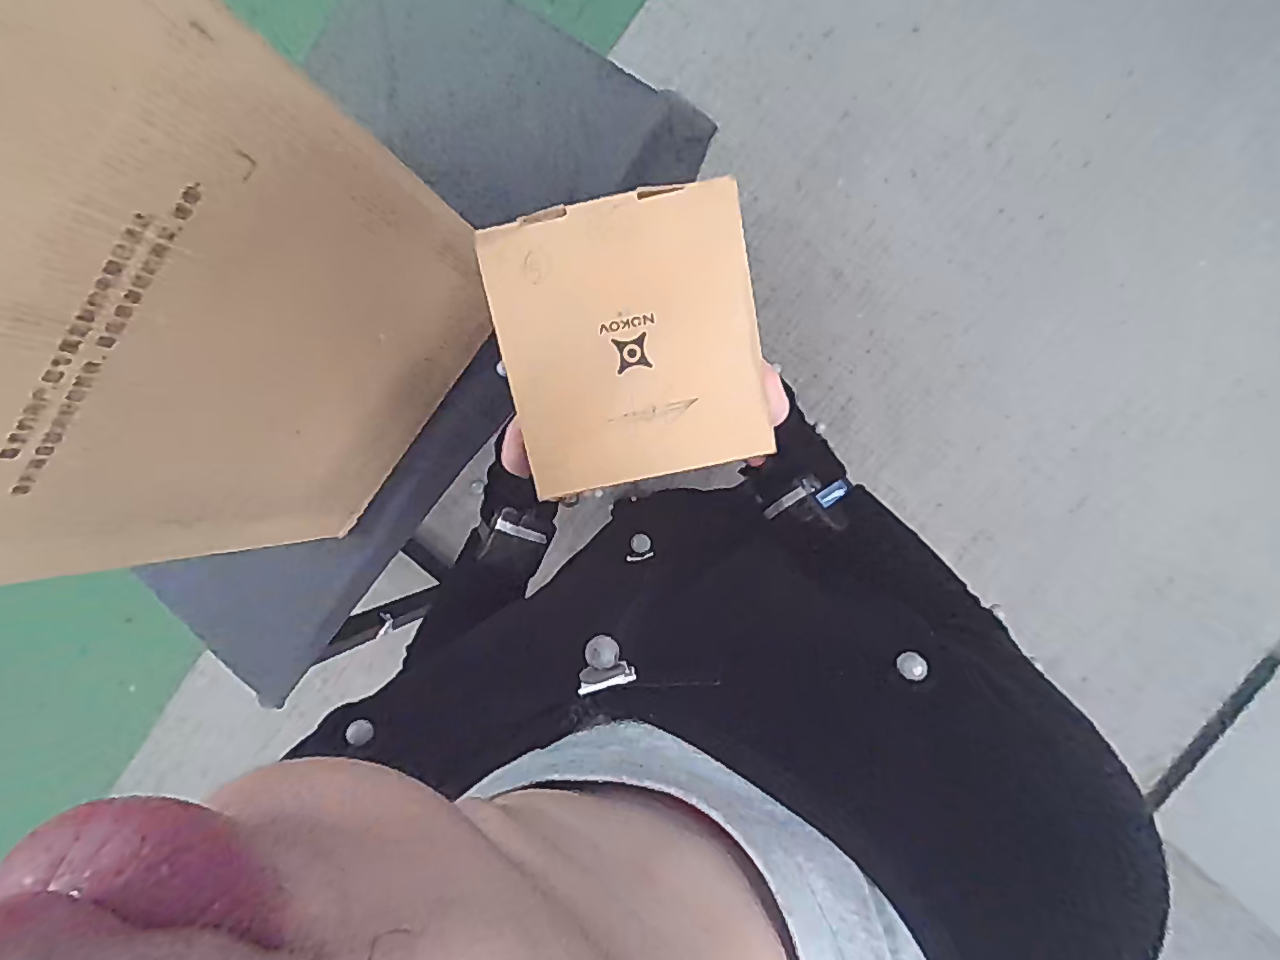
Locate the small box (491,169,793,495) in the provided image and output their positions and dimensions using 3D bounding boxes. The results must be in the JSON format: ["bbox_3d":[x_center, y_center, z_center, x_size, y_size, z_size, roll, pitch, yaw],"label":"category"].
[{"bbox_3d":[0.004,-0.105,0.421,0.168,0.176,0.179,-13,103,3],"label":"small box"}]
